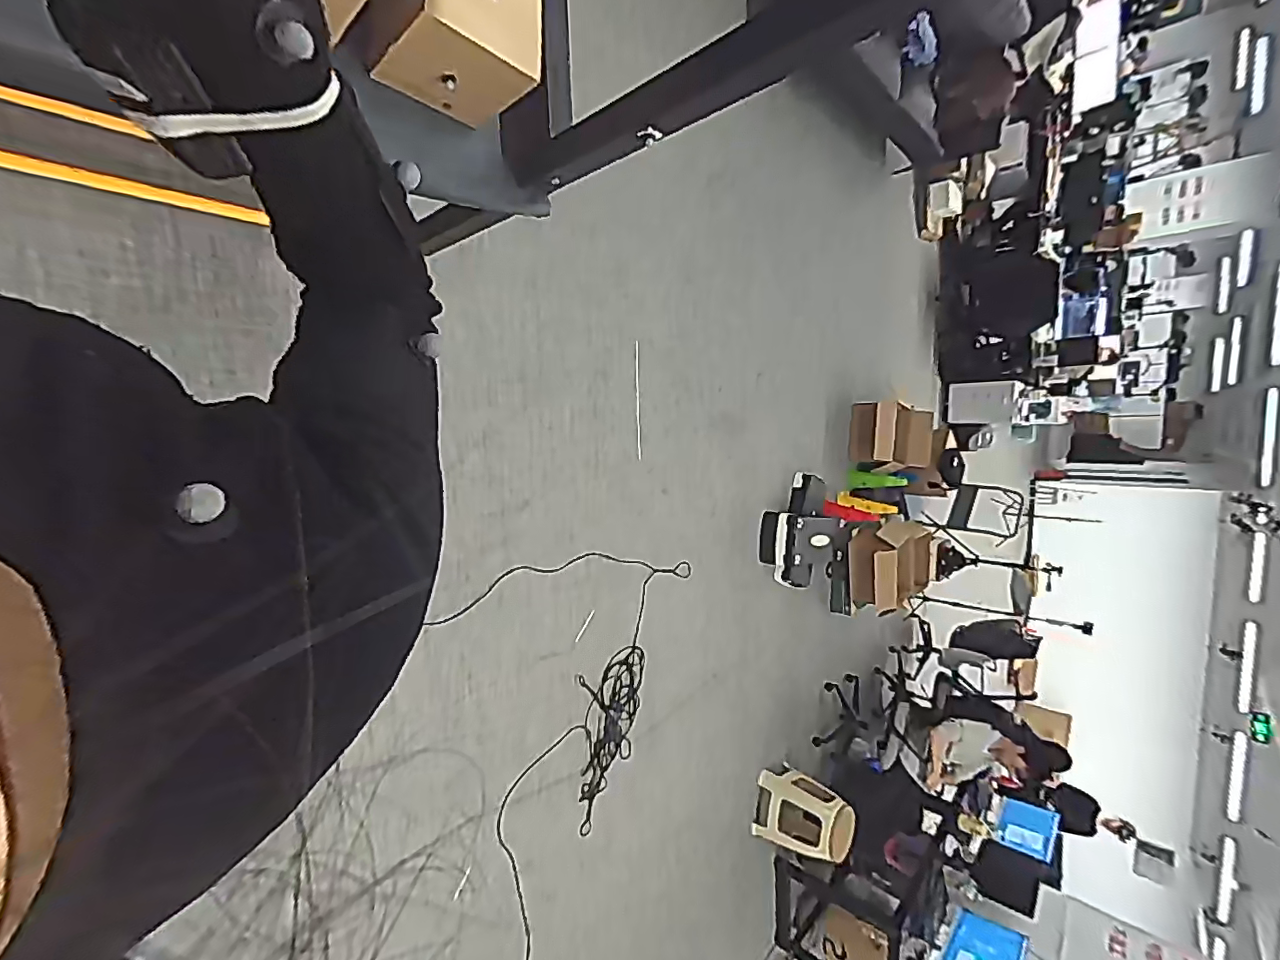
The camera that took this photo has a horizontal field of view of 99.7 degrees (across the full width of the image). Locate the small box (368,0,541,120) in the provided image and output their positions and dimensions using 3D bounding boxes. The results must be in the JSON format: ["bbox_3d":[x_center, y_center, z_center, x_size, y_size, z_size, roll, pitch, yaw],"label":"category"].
[{"bbox_3d":[-0.250,-0.632,0.729,0.168,0.176,0.179,-3,95,-47],"label":"small box"}]
